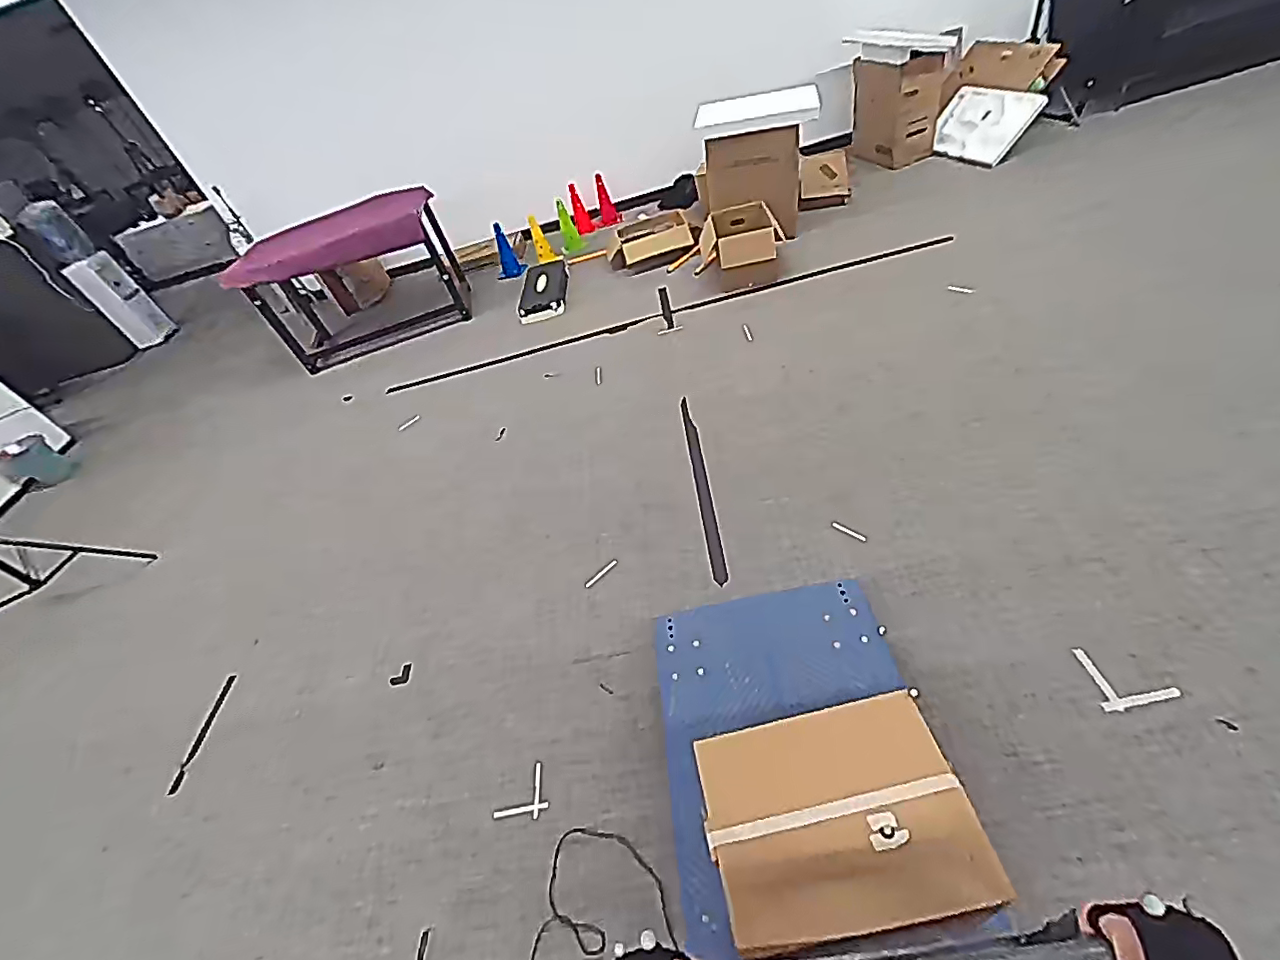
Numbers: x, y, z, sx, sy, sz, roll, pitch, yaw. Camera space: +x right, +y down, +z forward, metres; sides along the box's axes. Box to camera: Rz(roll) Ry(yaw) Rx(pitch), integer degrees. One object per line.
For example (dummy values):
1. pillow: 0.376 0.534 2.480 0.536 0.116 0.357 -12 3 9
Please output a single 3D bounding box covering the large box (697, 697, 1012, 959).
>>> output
1. large box: 0.348 0.653 0.979 0.408 0.320 0.320 -15 44 2
